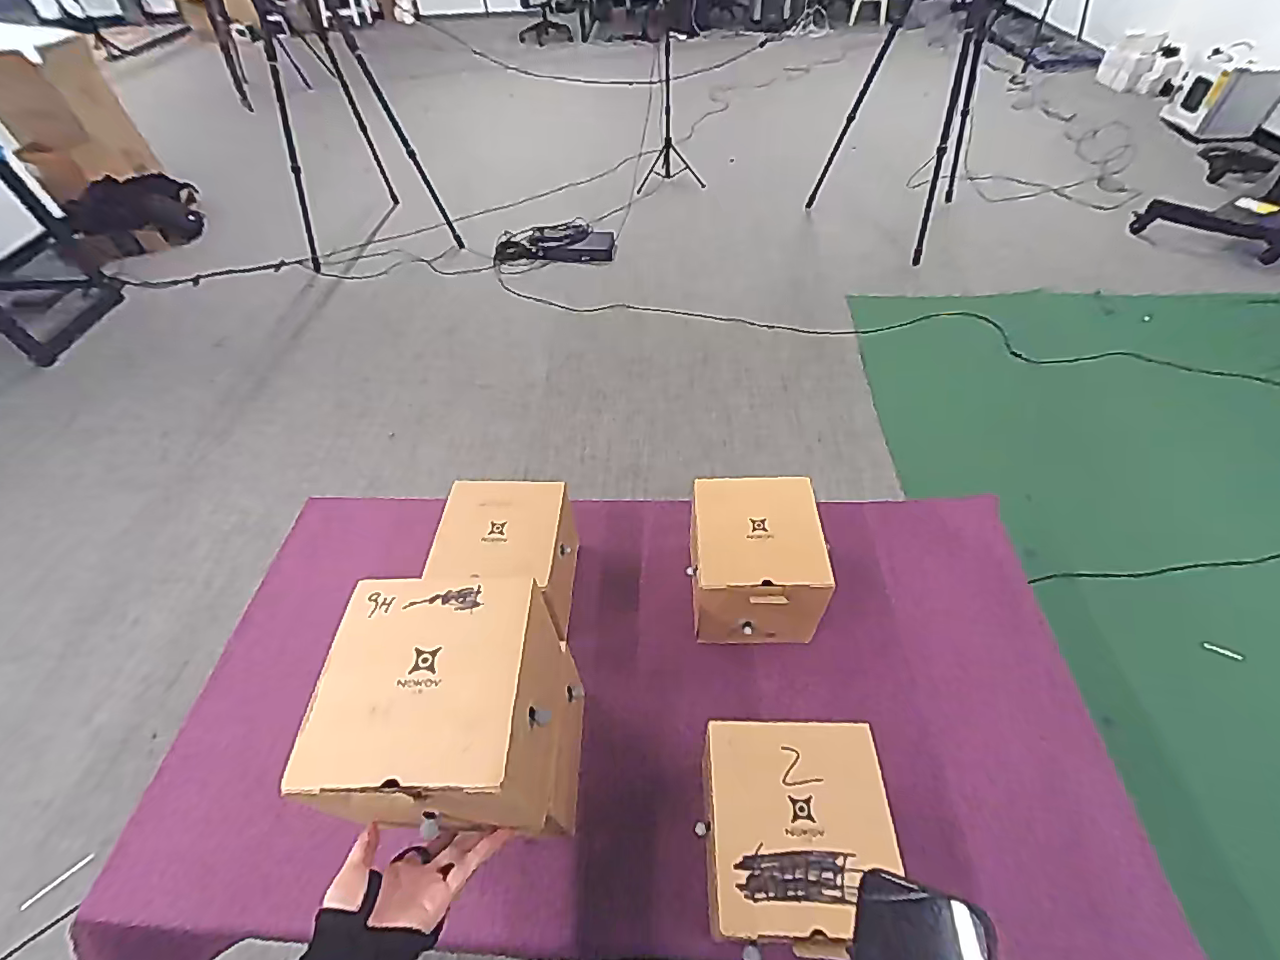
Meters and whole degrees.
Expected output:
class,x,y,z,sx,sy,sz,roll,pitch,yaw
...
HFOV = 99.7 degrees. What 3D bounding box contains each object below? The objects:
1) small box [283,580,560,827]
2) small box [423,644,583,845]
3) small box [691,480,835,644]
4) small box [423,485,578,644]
class,x,y,z,sx,sy,sz,roll,pitch,yaw
small box,-0.173,0.211,0.501,0.168,0.176,0.179,-2,50,2
small box,-0.162,0.309,0.633,0.168,0.176,0.179,-2,49,3
small box,0.161,0.119,0.775,0.168,0.176,0.179,-2,50,3
small box,-0.189,0.126,0.791,0.168,0.176,0.179,1,50,3
